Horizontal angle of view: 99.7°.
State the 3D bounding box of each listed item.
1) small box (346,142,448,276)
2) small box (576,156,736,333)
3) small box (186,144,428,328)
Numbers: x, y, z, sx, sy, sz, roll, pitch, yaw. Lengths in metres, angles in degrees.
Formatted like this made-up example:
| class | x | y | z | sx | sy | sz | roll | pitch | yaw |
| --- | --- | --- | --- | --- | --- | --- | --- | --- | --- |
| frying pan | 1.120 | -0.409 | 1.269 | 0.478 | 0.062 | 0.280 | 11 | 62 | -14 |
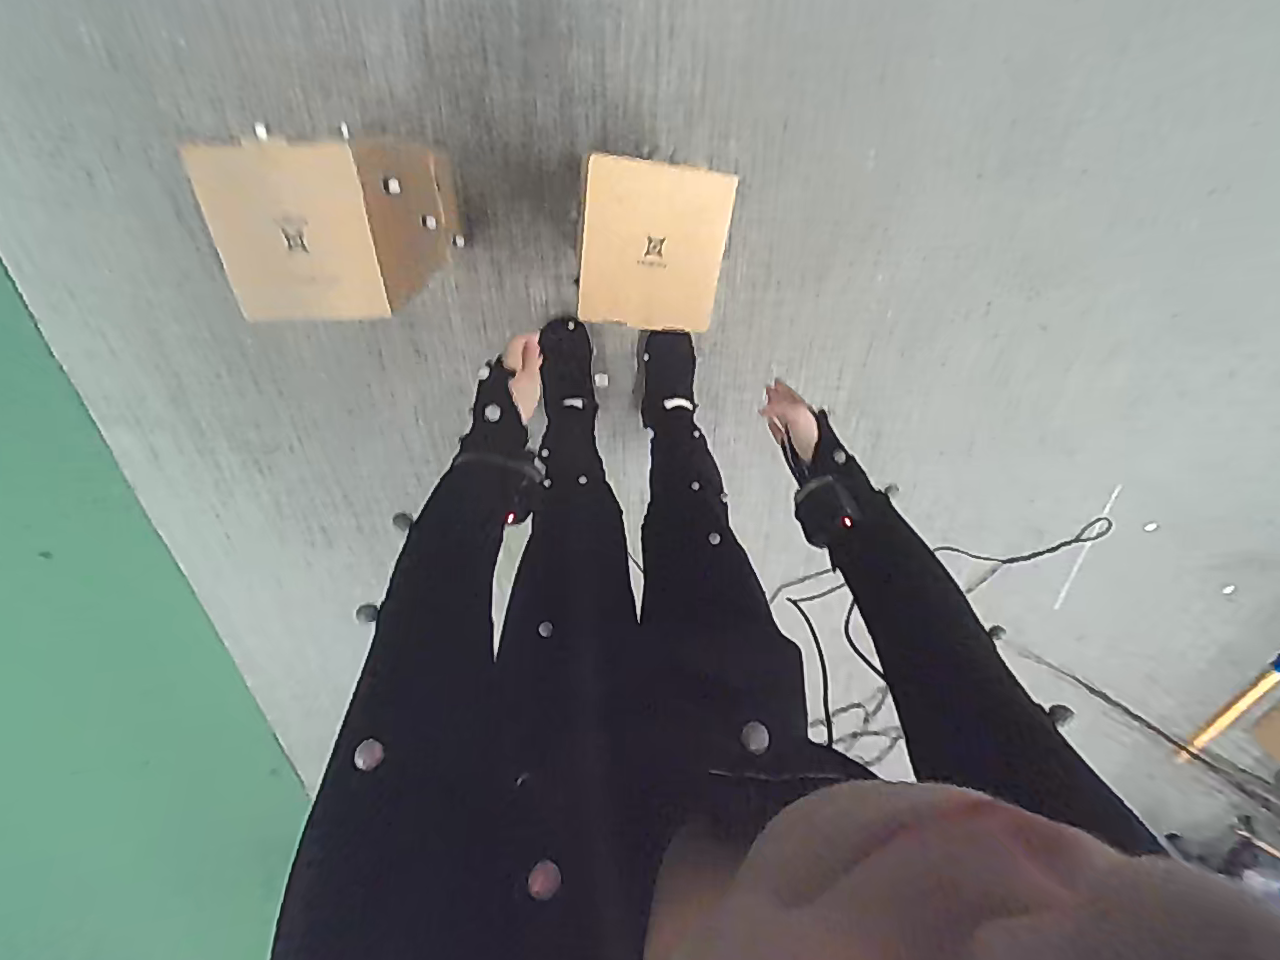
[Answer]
| class | x | y | z | sx | sy | sz | roll | pitch | yaw |
| --- | --- | --- | --- | --- | --- | --- | --- | --- | --- |
| small box | -0.390 | -0.380 | 0.779 | 0.168 | 0.176 | 0.179 | -5 | 122 | -4 |
| small box | 0.007 | -0.302 | 0.690 | 0.168 | 0.176 | 0.179 | 2 | 121 | -9 |
| small box | -0.370 | -0.293 | 0.644 | 0.168 | 0.176 | 0.179 | -4 | 122 | -3 |
